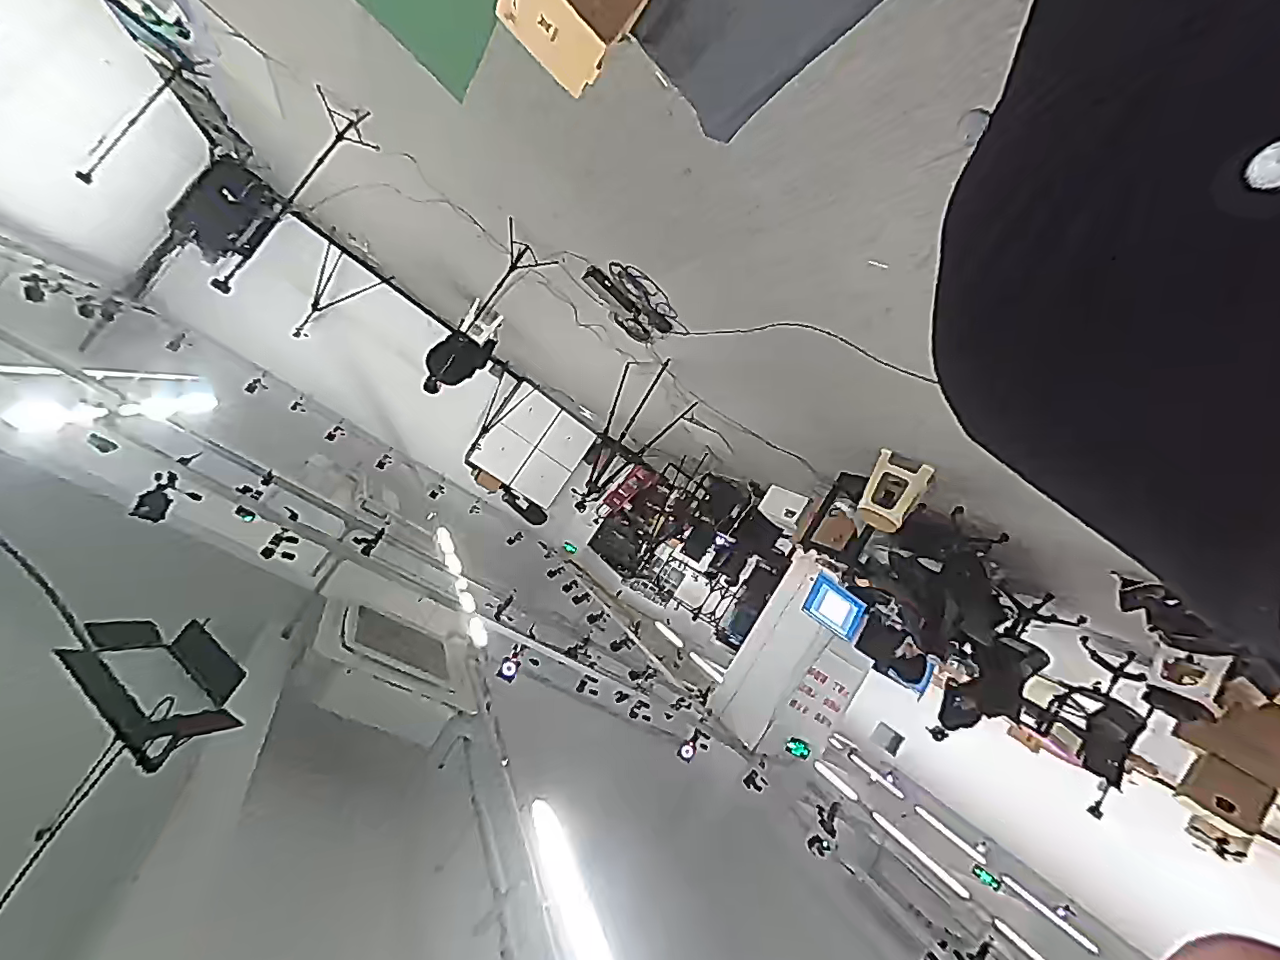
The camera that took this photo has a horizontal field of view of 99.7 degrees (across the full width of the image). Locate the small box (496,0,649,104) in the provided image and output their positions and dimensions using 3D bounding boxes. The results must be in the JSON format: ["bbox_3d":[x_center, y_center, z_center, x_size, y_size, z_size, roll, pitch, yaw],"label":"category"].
[{"bbox_3d":[-0.098,-0.765,0.857,0.179,0.176,0.168,35,172,-24],"label":"small box"}]
